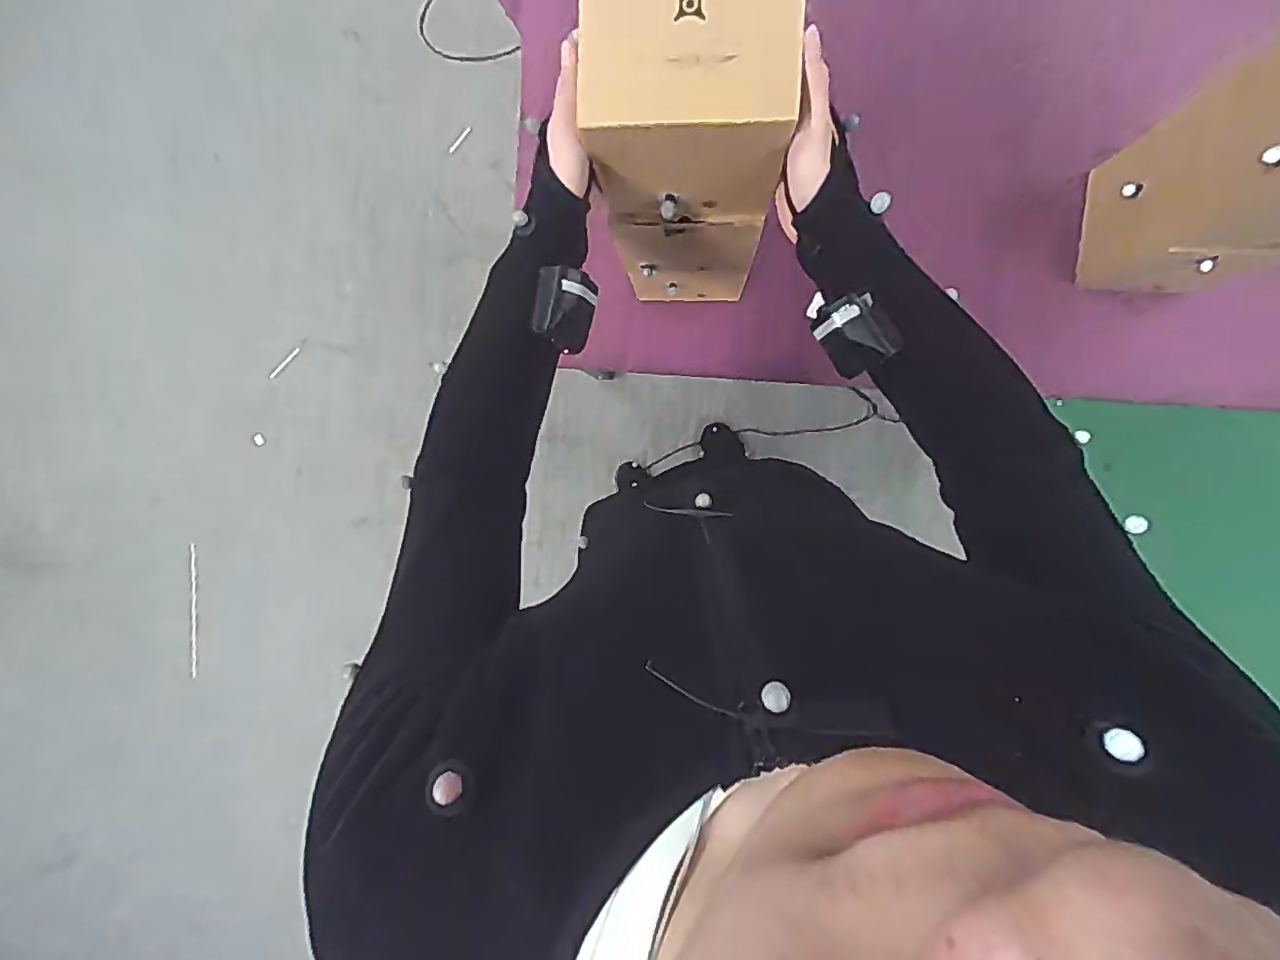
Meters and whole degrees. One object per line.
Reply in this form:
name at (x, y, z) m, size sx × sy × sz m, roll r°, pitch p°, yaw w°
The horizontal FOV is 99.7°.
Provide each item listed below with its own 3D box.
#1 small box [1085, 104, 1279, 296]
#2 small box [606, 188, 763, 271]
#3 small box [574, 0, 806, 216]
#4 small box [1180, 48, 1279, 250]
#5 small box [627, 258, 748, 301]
small box at (0.742, -0.361, 0.722) m, size 0.168 × 0.176 × 0.179 m, roll 4°, pitch 94°, yaw 7°
small box at (0.059, -0.354, 0.629) m, size 0.168 × 0.176 × 0.179 m, roll 3°, pitch 94°, yaw 6°
small box at (0.044, -0.351, 0.466) m, size 0.168 × 0.176 × 0.179 m, roll 3°, pitch 95°, yaw 6°
small box at (0.724, -0.350, 0.558) m, size 0.168 × 0.176 × 0.179 m, roll 6°, pitch 94°, yaw 5°
small box at (0.076, -0.368, 0.792) m, size 0.168 × 0.176 × 0.179 m, roll 2°, pitch 94°, yaw 6°
